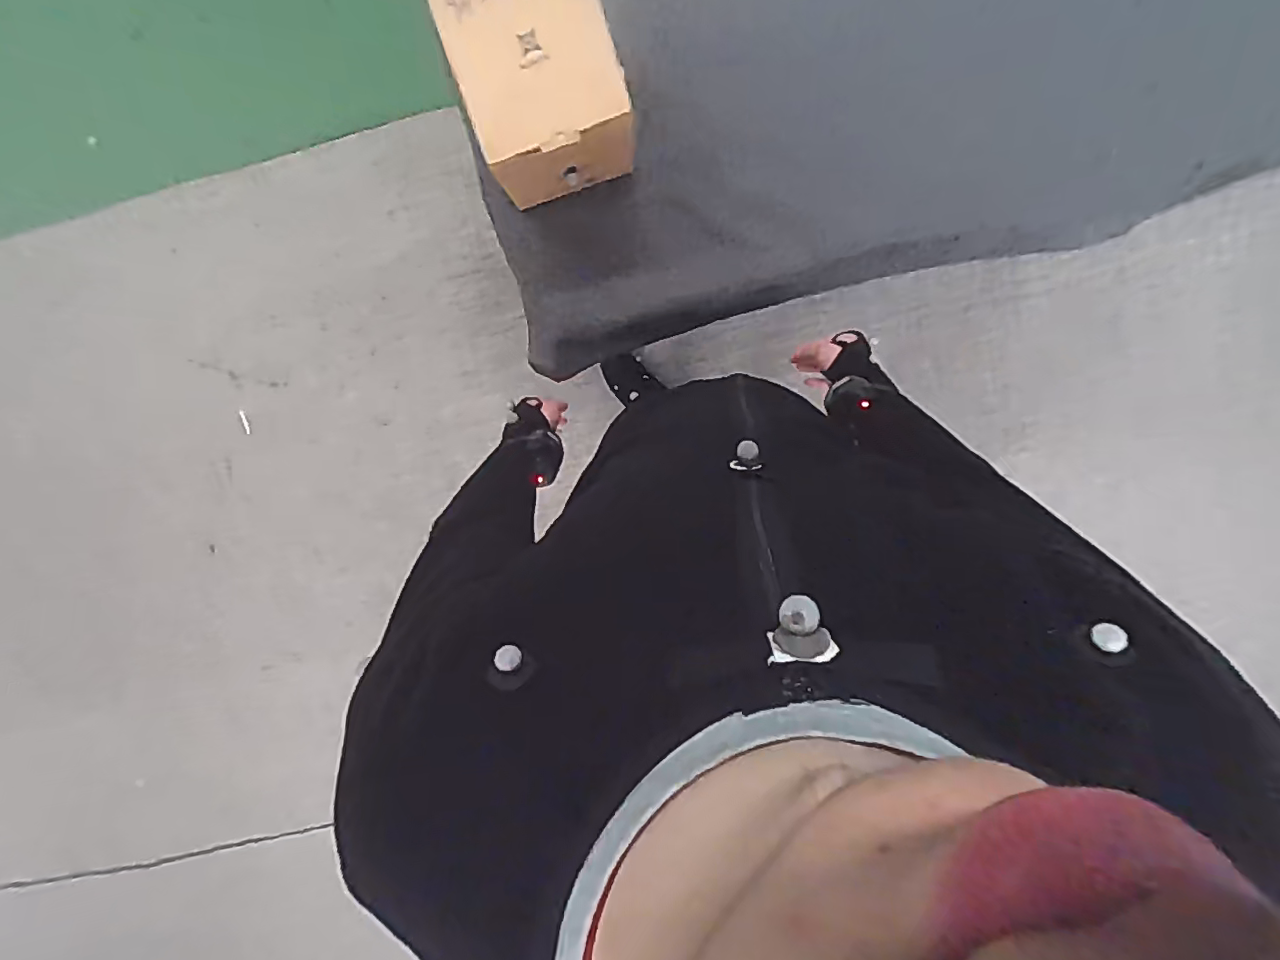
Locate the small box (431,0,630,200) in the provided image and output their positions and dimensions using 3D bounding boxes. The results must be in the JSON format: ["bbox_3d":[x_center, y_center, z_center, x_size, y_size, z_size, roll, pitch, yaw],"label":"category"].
[{"bbox_3d":[-0.113,-0.457,0.642,0.168,0.176,0.179,-18,103,2],"label":"small box"}]
